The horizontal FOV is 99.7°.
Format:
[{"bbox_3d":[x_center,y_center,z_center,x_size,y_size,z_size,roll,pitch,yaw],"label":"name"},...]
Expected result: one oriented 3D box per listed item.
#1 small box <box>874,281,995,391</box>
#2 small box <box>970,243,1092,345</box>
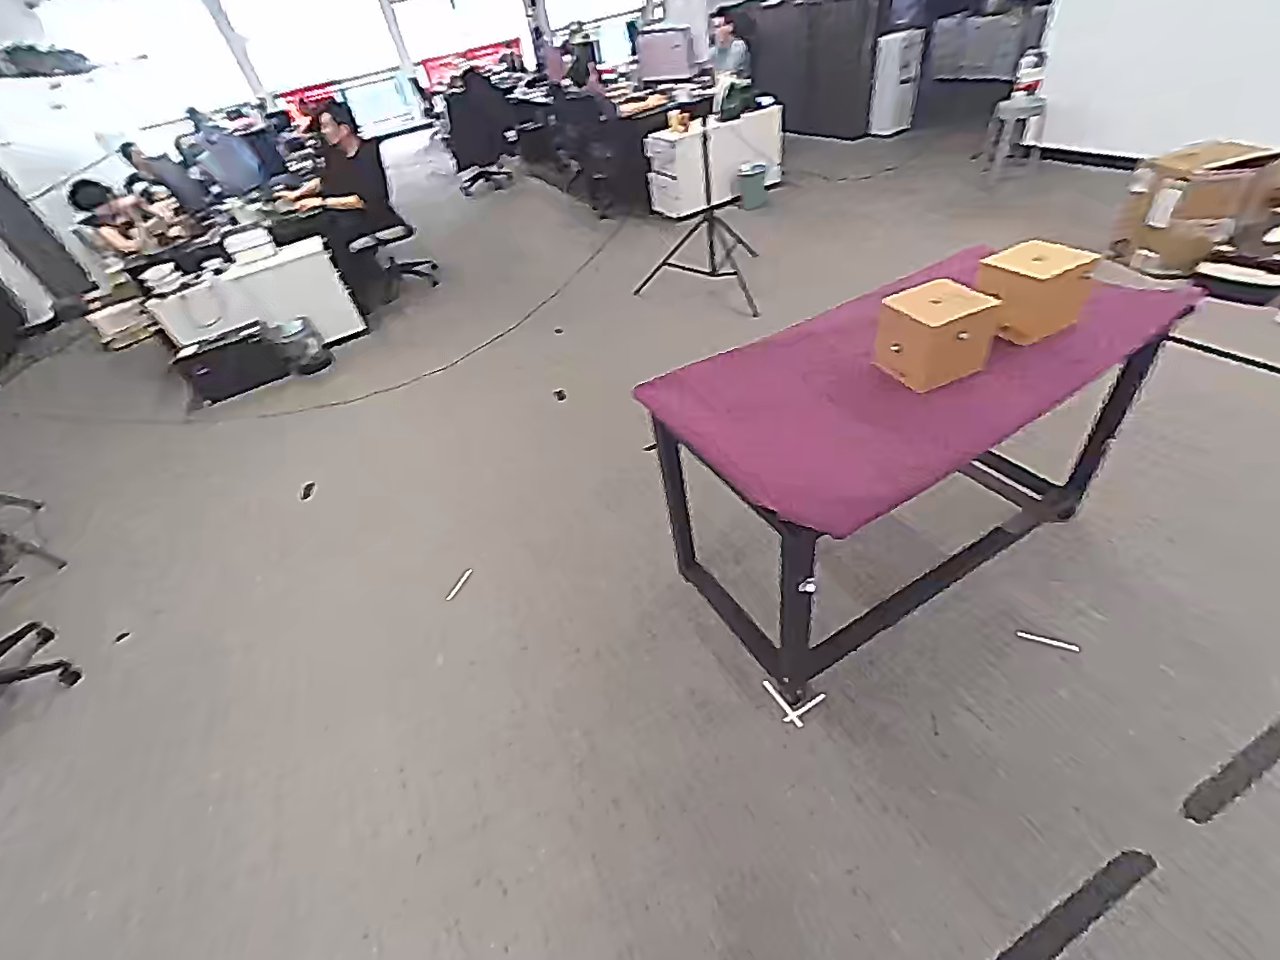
[{"bbox_3d":[0.661,-0.328,1.240,0.179,0.176,0.168,-21,42,-9],"label":"small box"},{"bbox_3d":[0.927,-0.448,1.308,0.179,0.176,0.168,-24,41,-12],"label":"small box"}]
